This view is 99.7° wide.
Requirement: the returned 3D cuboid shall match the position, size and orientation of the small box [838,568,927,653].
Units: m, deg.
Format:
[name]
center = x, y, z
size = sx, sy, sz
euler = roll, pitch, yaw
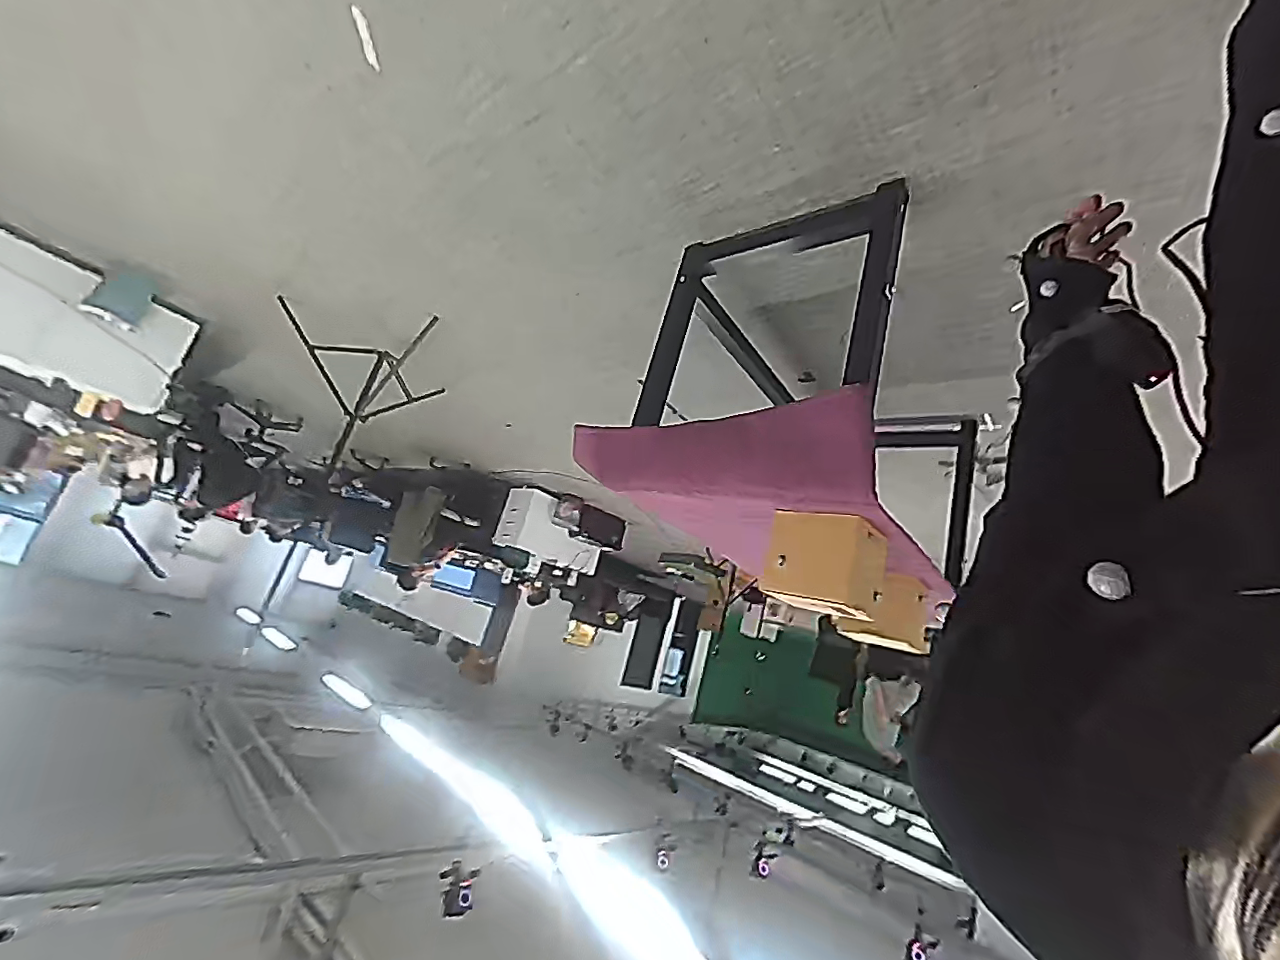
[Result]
[small box]
center = 0.628, 0.333, 1.393
size = 0.168, 0.176, 0.179
euler = 2, 159, 40
